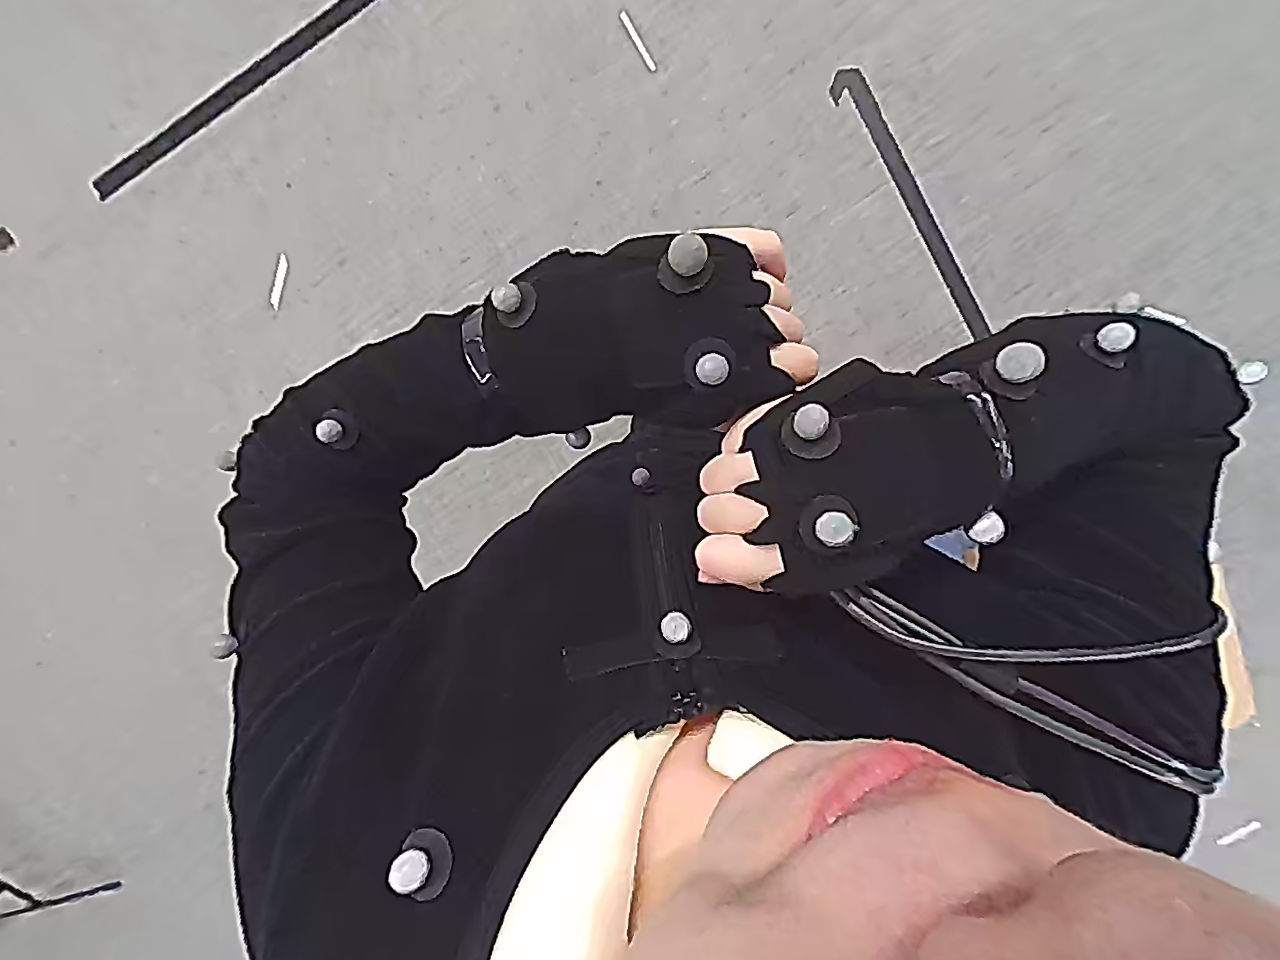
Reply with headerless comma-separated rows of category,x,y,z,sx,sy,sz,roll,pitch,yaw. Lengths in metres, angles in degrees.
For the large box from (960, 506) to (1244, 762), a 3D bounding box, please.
large box,1.003,0.318,1.214,0.320,0.320,0.408,-21,99,3
